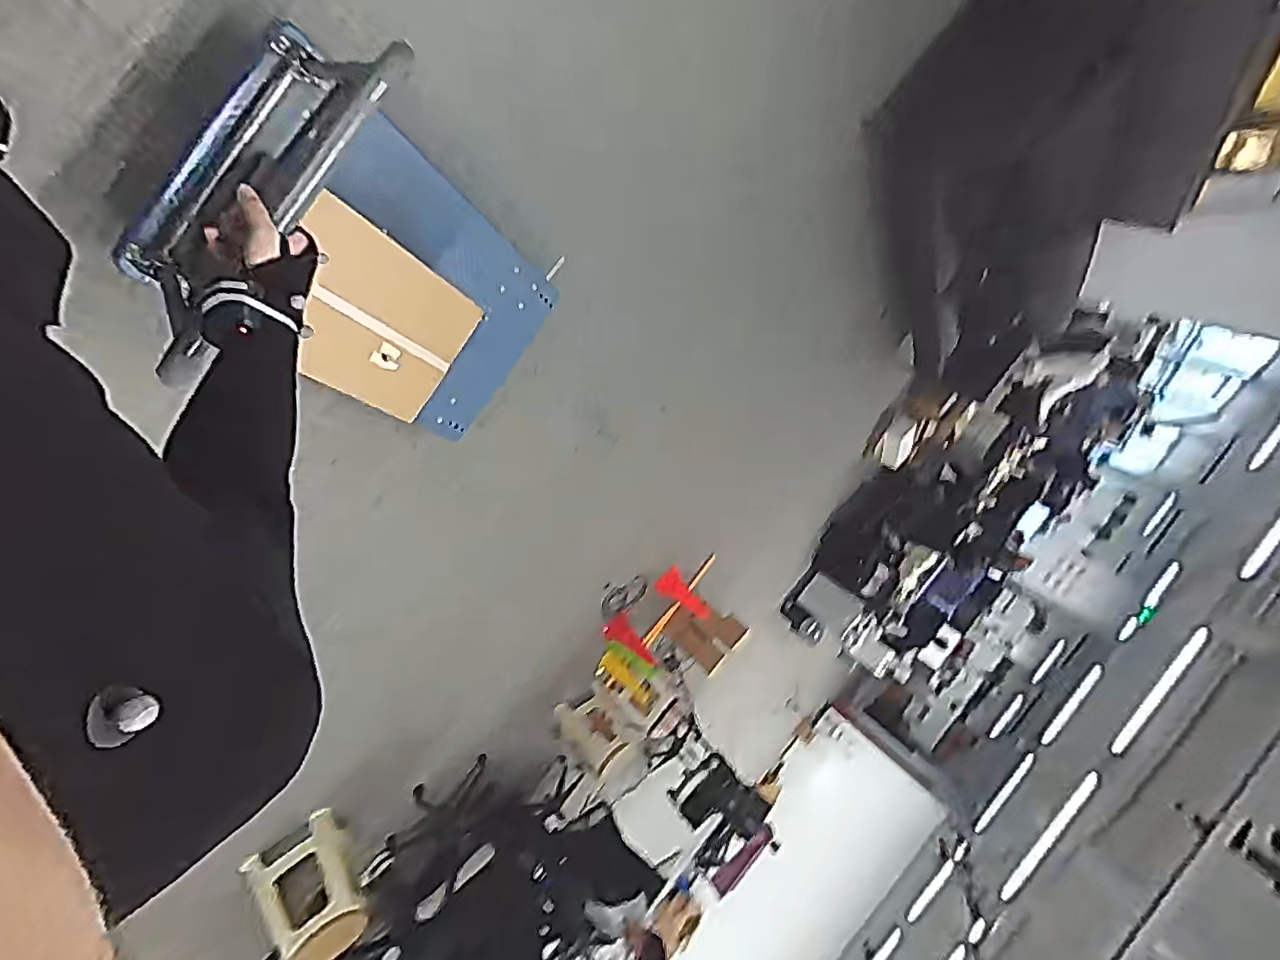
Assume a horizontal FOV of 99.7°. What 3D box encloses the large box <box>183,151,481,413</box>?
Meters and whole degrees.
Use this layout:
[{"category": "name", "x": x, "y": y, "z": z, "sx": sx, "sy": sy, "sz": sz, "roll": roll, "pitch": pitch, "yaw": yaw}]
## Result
[{"category": "large box", "x": -0.641, "y": -0.403, "z": 1.151, "sx": 0.320, "sy": 0.320, "sz": 0.408, "roll": -54, "pitch": 146, "yaw": 3}]
